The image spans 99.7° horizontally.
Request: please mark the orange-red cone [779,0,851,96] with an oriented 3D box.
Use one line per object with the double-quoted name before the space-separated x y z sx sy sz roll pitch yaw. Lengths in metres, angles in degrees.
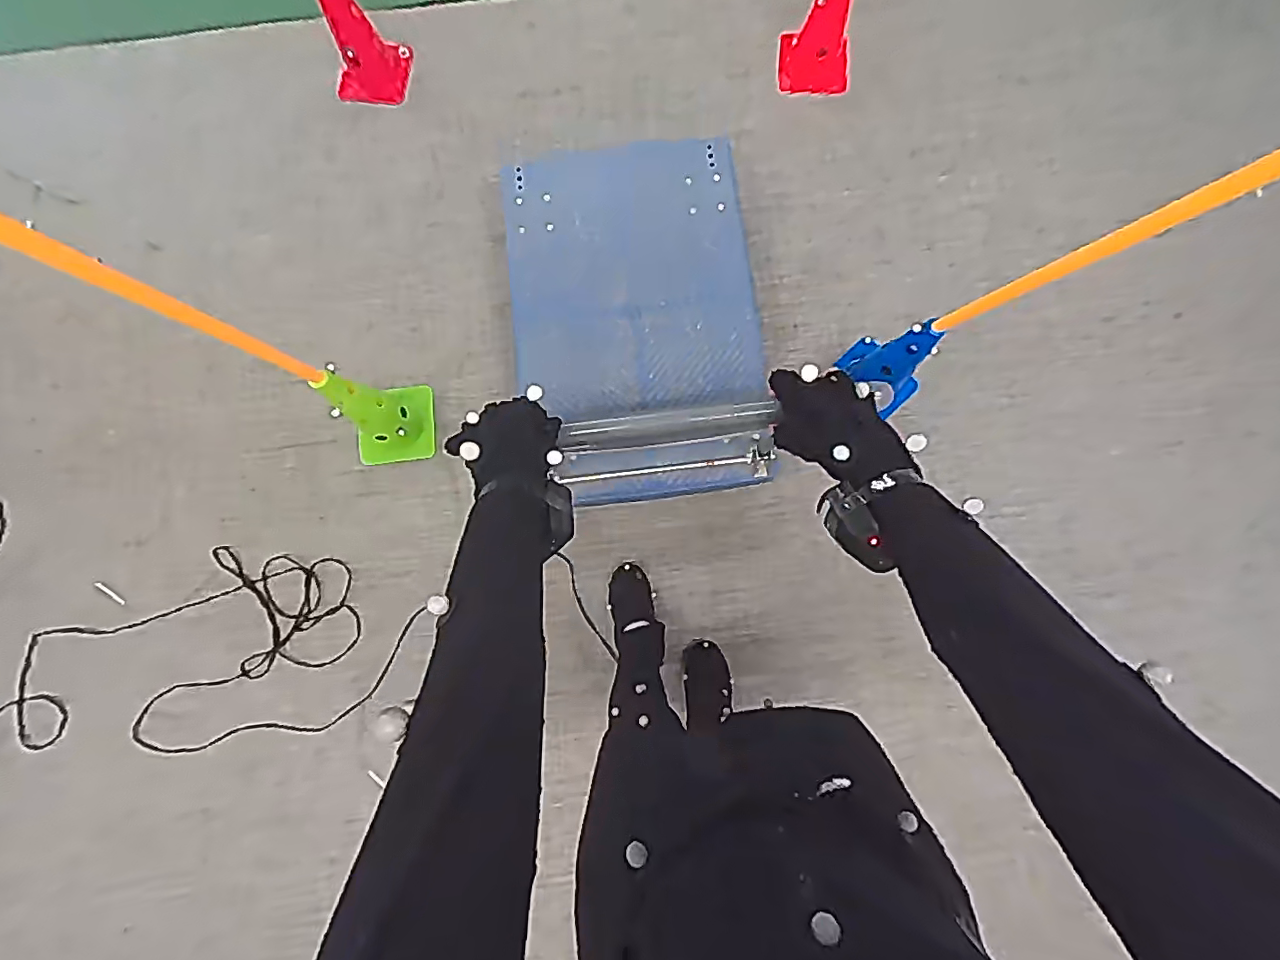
"orange-red cone" 0.506 -1.242 1.420 0.198 0.360 0.199 5 81 3
